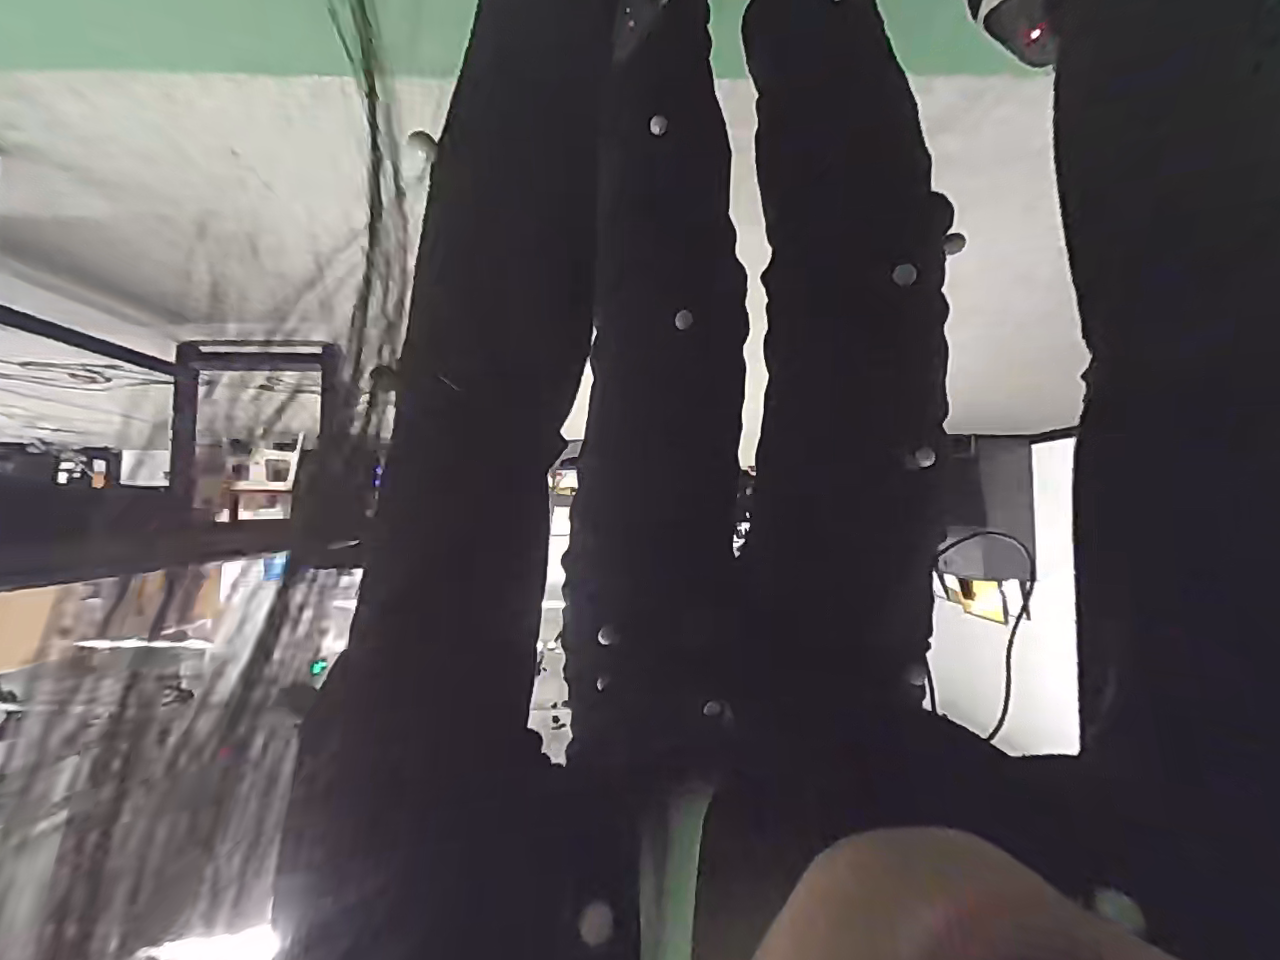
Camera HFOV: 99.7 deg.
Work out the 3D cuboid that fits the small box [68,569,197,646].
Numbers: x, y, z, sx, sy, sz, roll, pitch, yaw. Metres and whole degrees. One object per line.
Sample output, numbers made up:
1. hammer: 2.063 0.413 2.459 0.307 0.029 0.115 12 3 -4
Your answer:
1. small box: -1.250 0.310 1.348 0.179 0.176 0.168 0 175 -4
